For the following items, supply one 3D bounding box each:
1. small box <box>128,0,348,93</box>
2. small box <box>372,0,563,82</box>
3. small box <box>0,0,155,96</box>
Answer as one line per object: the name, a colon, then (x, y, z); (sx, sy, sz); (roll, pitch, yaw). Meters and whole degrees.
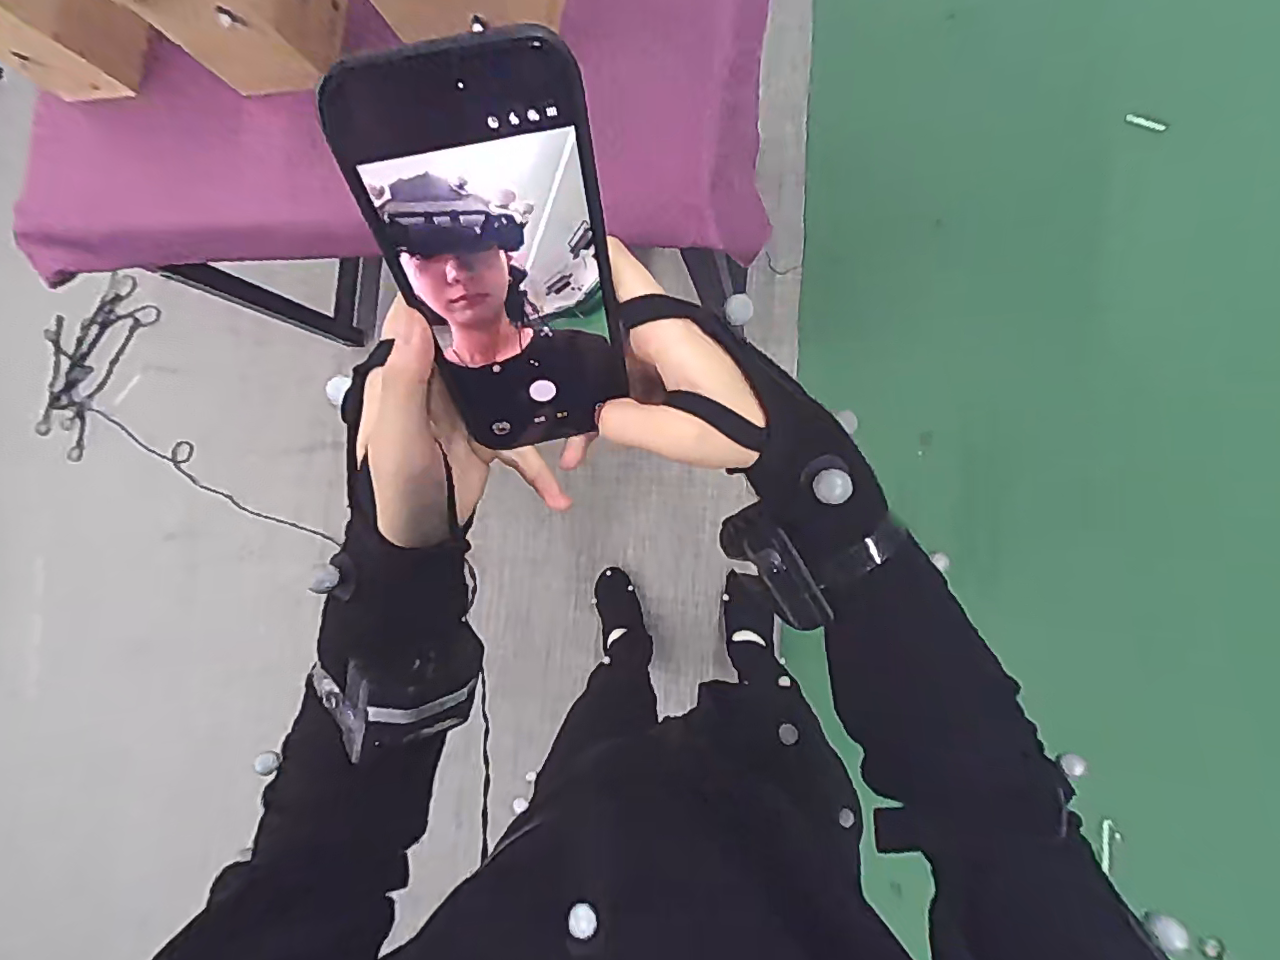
small box: (-0.527, -0.662, 0.726); (0.179, 0.176, 0.168); (7, 88, 15)
small box: (-0.201, -0.611, 0.640); (0.179, 0.176, 0.168); (13, 89, 15)
small box: (-0.899, -0.725, 0.829); (0.168, 0.176, 0.179); (7, 88, 15)
